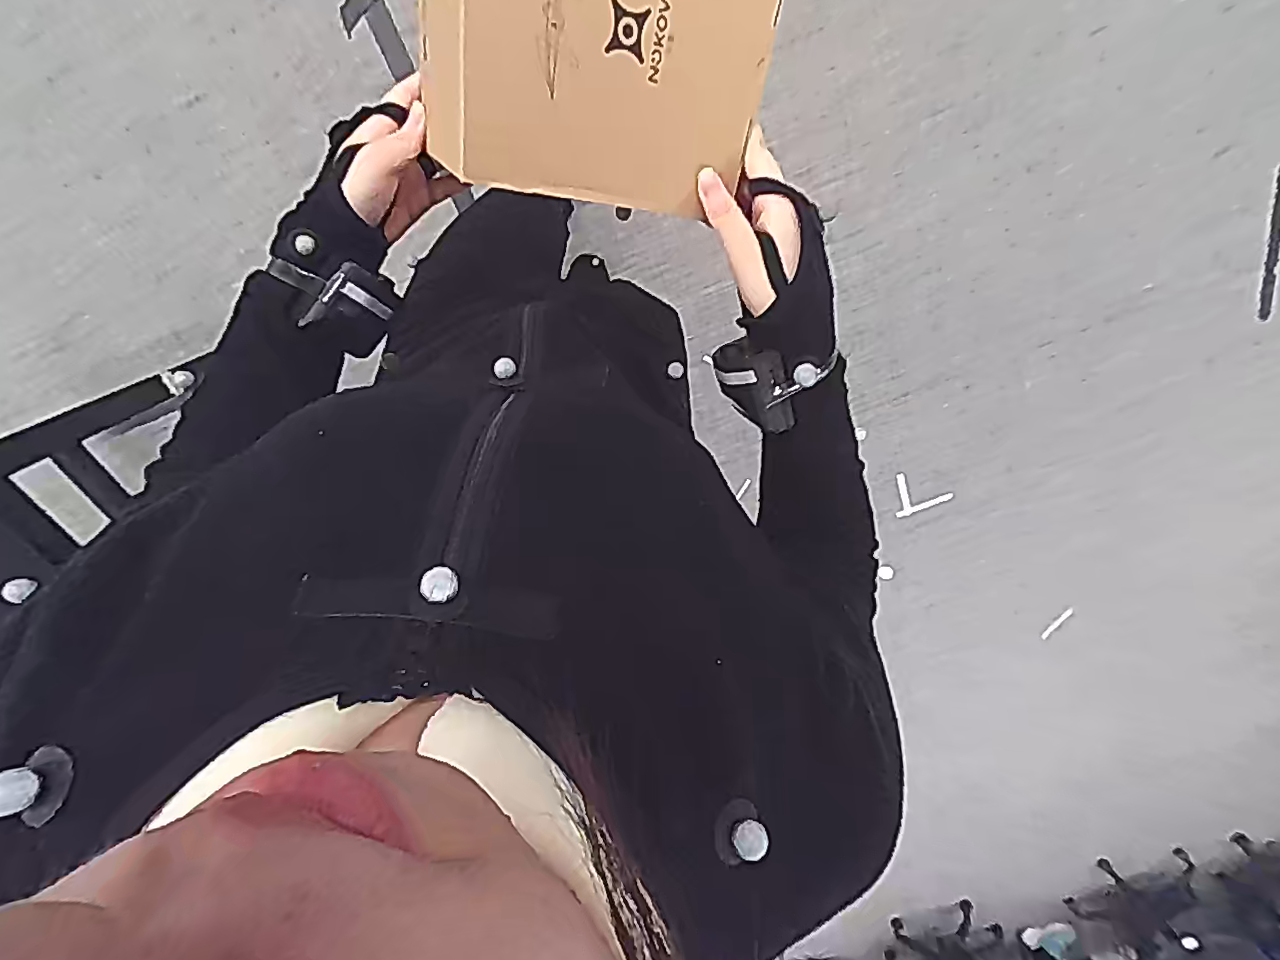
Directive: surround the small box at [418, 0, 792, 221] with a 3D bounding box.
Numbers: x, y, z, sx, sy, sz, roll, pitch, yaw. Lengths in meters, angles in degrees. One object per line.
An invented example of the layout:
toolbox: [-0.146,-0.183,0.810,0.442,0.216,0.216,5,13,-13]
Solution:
small box: [-0.033,-0.276,0.333,0.179,0.176,0.168,-4,124,-27]
